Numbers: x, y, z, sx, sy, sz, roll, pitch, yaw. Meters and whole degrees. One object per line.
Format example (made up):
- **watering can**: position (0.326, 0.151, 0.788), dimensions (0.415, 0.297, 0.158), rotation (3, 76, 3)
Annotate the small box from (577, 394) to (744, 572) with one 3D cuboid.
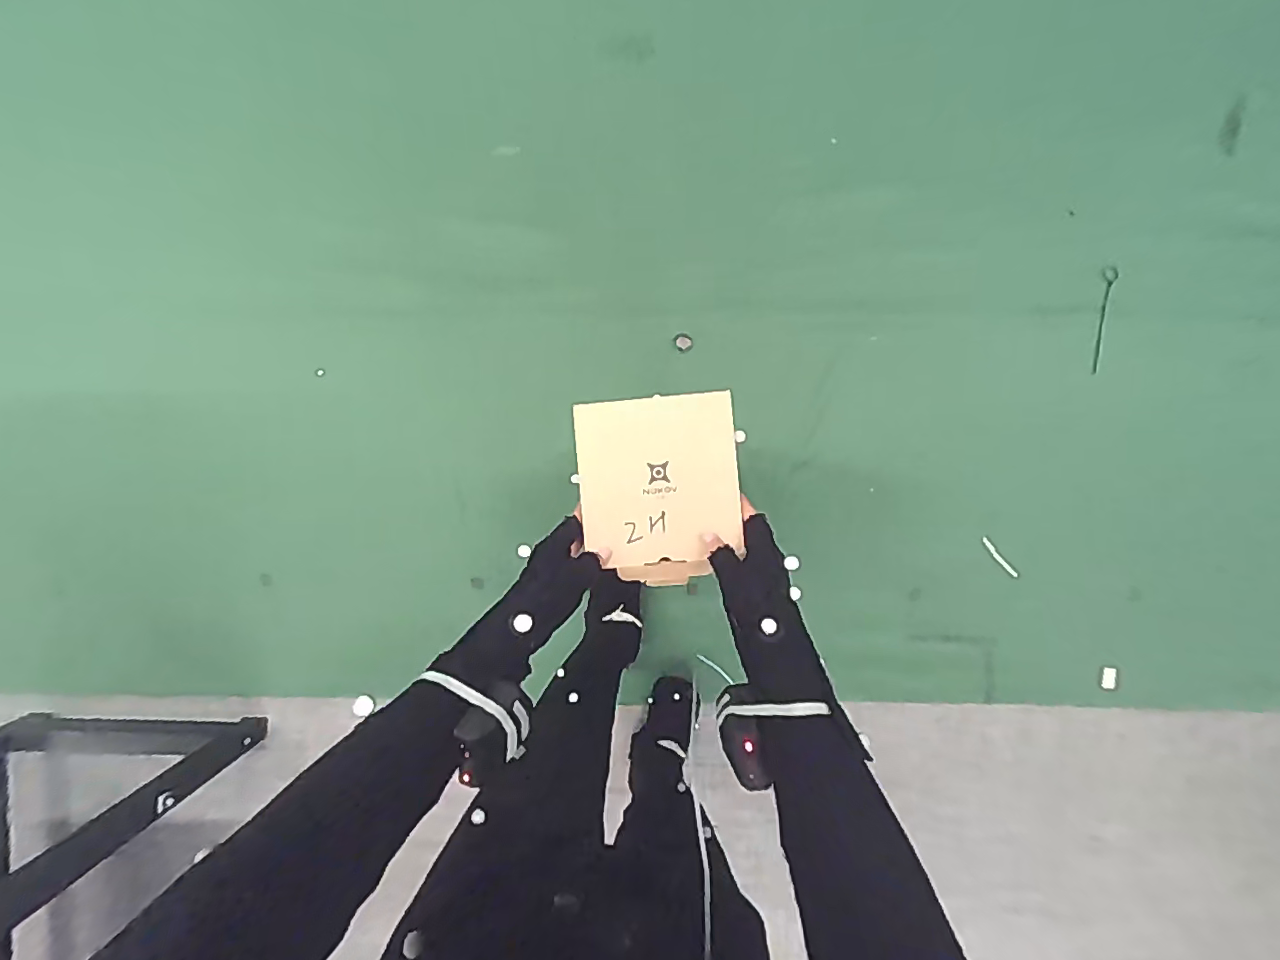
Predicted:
- **small box**: position (0.024, 0.004, 0.638), dimensions (0.168, 0.176, 0.179), rotation (-5, 90, 4)
